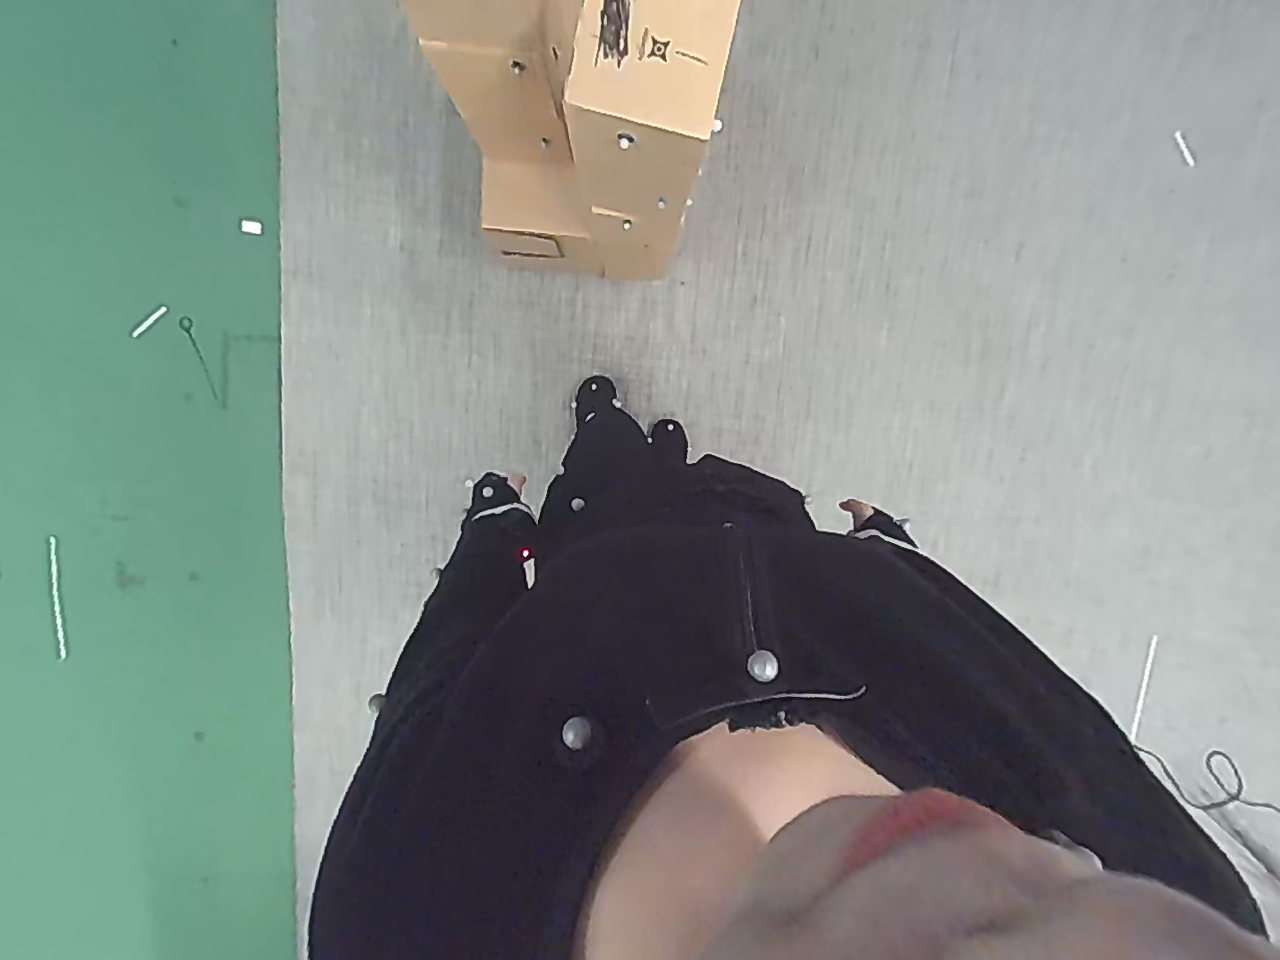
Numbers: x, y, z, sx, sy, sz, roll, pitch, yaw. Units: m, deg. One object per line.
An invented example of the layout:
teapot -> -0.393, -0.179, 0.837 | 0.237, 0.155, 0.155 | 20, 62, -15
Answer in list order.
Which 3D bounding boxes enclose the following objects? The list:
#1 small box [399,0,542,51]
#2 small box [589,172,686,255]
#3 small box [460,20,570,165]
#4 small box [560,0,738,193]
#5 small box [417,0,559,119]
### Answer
small box -> -0.216, -0.682, 0.676 | 0.179, 0.176, 0.168 | 4, 95, -1
small box -> 0.000, -0.550, 1.021 | 0.168, 0.176, 0.179 | 8, 96, -2
small box -> -0.221, -0.709, 1.002 | 0.179, 0.176, 0.168 | 2, 95, 0
small box -> 0.007, -0.498, 0.695 | 0.179, 0.176, 0.168 | 12, 97, -4
small box -> -0.227, -0.695, 0.840 | 0.179, 0.176, 0.168 | 3, 95, -2
